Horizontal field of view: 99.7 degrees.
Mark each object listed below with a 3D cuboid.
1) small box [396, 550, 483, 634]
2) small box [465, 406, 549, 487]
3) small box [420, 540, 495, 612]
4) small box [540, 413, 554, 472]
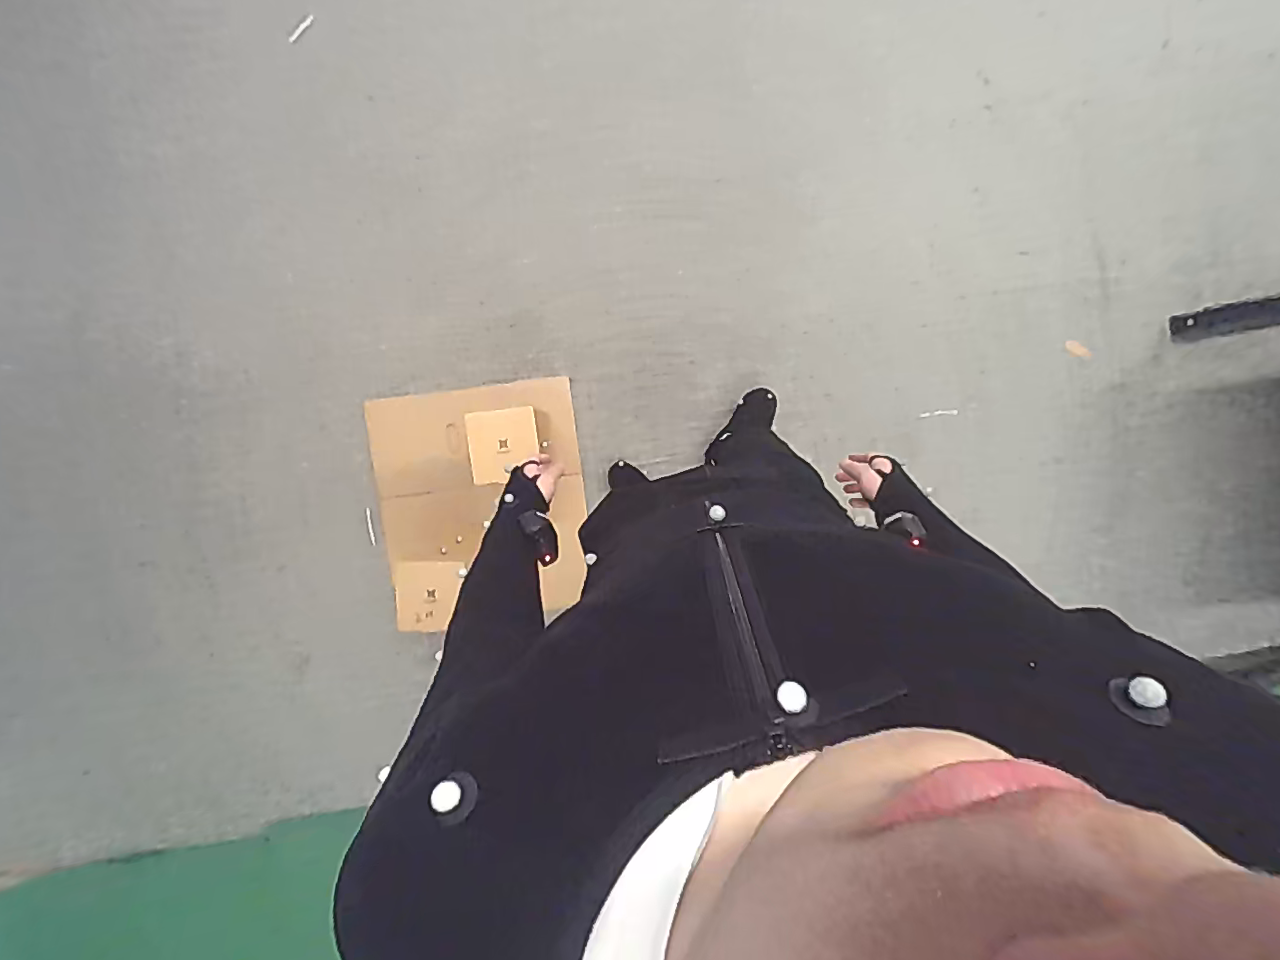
[{"bbox_3d":[-0.504,0.277,1.372,0.168,0.176,0.179,0,94,-2],"label":"small box"},{"bbox_3d":[-0.327,-0.085,1.357,0.168,0.176,0.179,-7,96,-2],"label":"small box"},{"bbox_3d":[-0.516,0.268,1.537,0.168,0.176,0.179,1,94,-2],"label":"small box"},{"bbox_3d":[-0.340,-0.097,1.518,0.168,0.176,0.179,-7,95,-2],"label":"small box"}]
